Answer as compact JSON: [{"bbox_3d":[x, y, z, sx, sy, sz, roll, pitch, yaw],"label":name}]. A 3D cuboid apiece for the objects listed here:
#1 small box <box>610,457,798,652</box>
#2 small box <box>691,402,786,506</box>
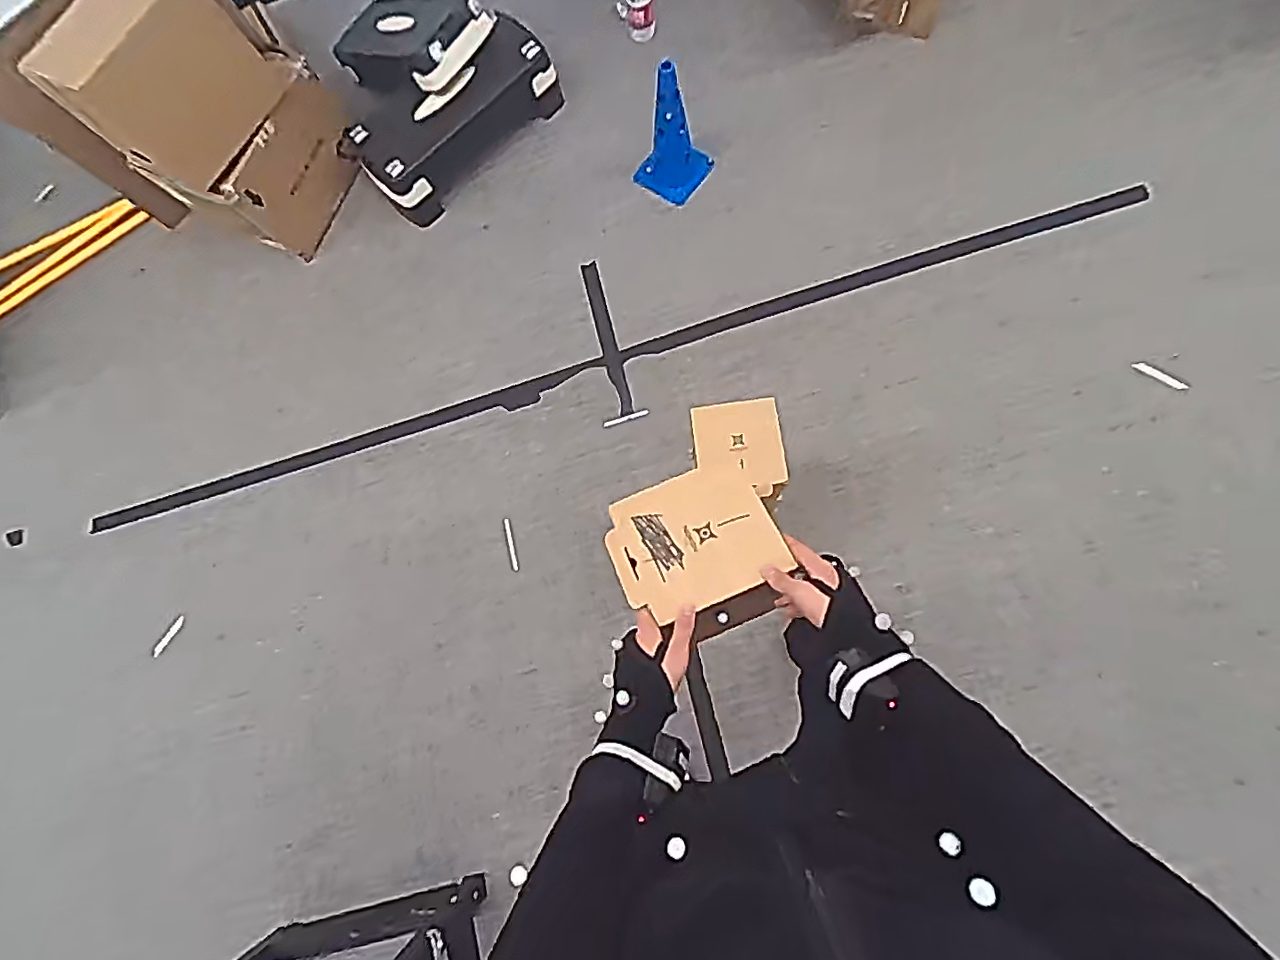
[{"bbox_3d":[0.082,0.105,0.705,0.179,0.176,0.168,-23,61,-4],"label":"small box"},{"bbox_3d":[0.193,-0.040,1.107,0.168,0.176,0.179,-7,77,5],"label":"small box"}]
